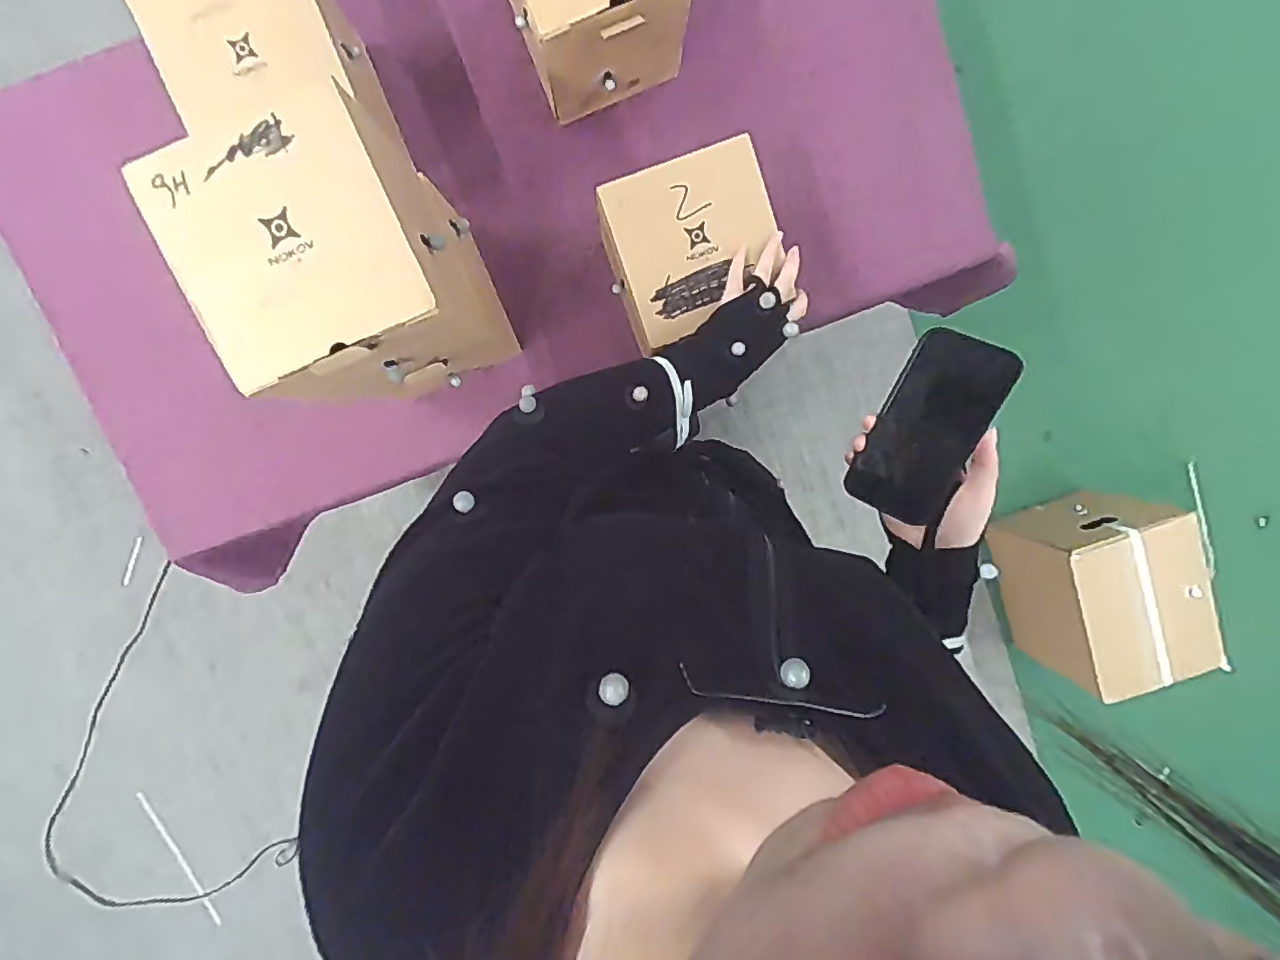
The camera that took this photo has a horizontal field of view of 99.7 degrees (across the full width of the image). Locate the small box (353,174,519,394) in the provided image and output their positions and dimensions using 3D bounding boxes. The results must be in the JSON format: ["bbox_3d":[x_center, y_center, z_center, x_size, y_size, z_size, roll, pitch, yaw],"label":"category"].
[{"bbox_3d":[-0.261,-0.210,0.634,0.168,0.176,0.179,-22,98,2],"label":"small box"}]

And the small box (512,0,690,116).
[{"bbox_3d":[-0.056,-0.553,0.592,0.168,0.176,0.179,-23,99,2],"label":"small box"}]

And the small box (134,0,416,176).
[{"bbox_3d":[-0.380,-0.421,0.601,0.168,0.176,0.179,-20,98,0],"label":"small box"}]

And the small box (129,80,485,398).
[{"bbox_3d":[-0.257,-0.184,0.472,0.168,0.176,0.179,-24,99,1],"label":"small box"}]
